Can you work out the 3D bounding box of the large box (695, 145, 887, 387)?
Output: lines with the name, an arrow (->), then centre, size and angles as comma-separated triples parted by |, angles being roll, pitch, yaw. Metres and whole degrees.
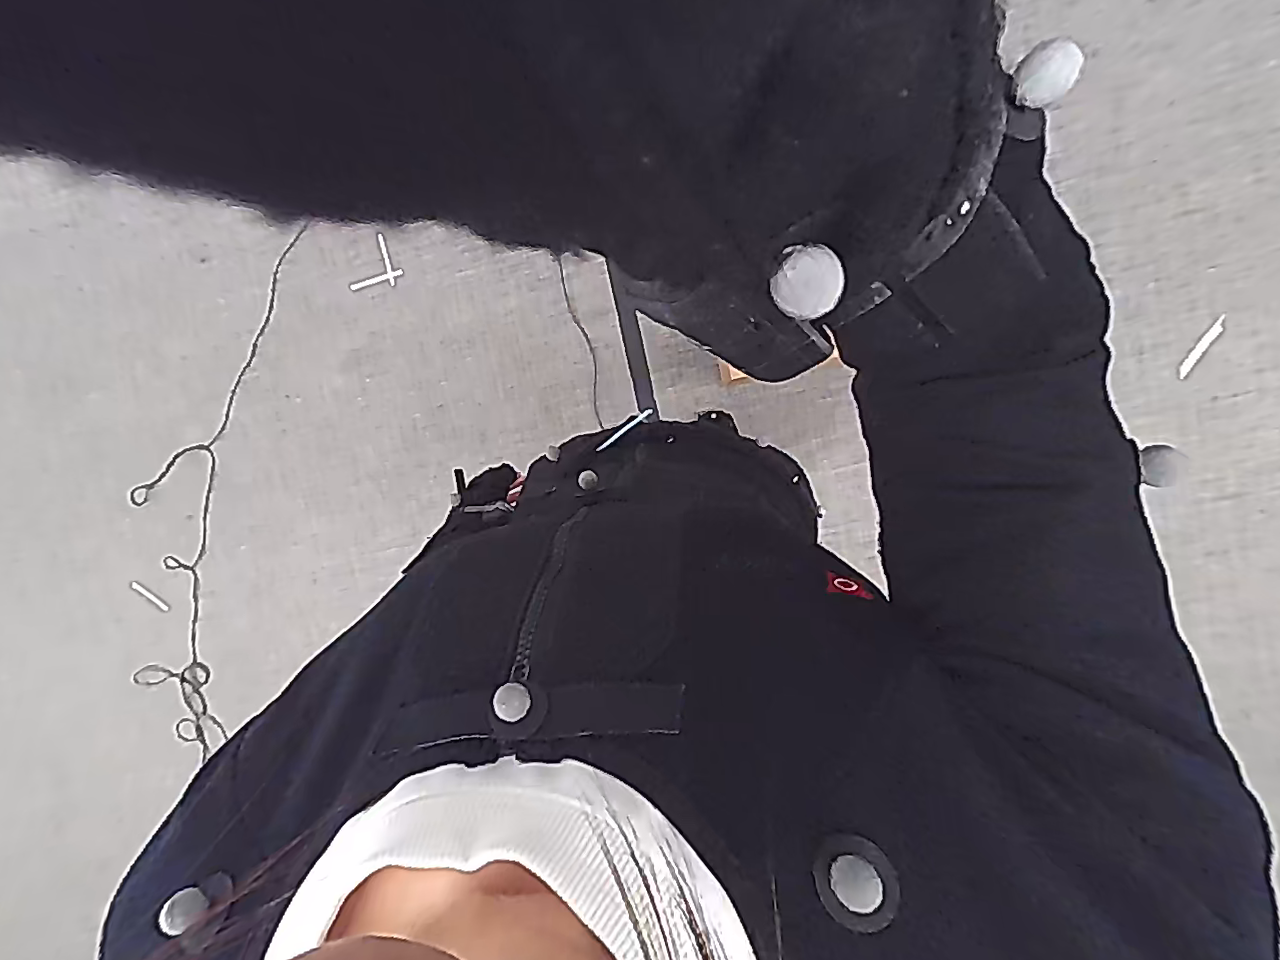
large box -> 0.316, -0.446, 1.225 | 0.320, 0.320, 0.408 | -11, 96, 8
